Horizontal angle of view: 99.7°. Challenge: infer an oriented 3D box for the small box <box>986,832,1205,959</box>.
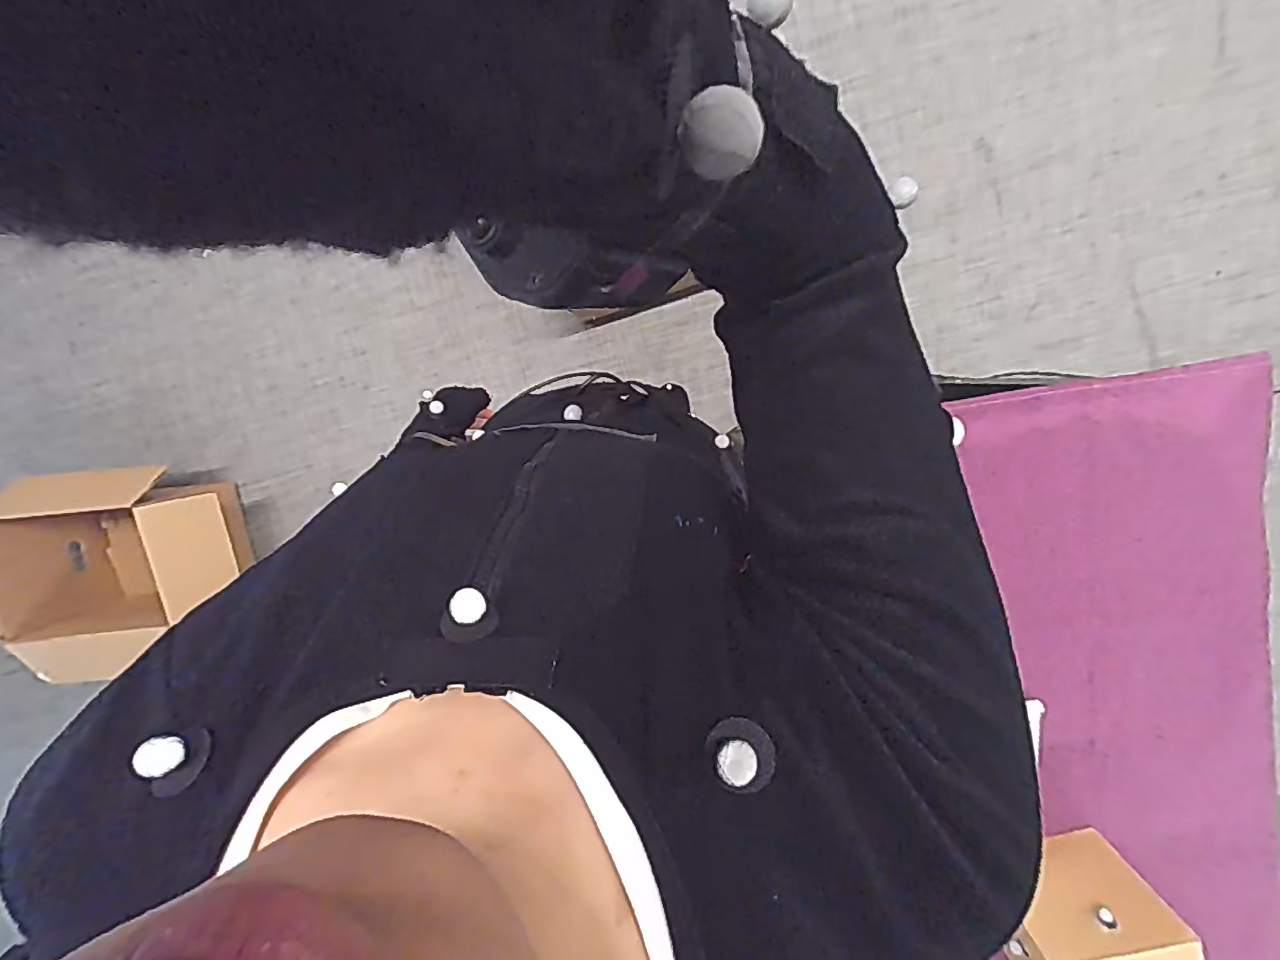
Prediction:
[{"bbox_3d":[0.607,0.627,0.737,0.179,0.176,0.168,-17,98,4],"label":"small box"}]
